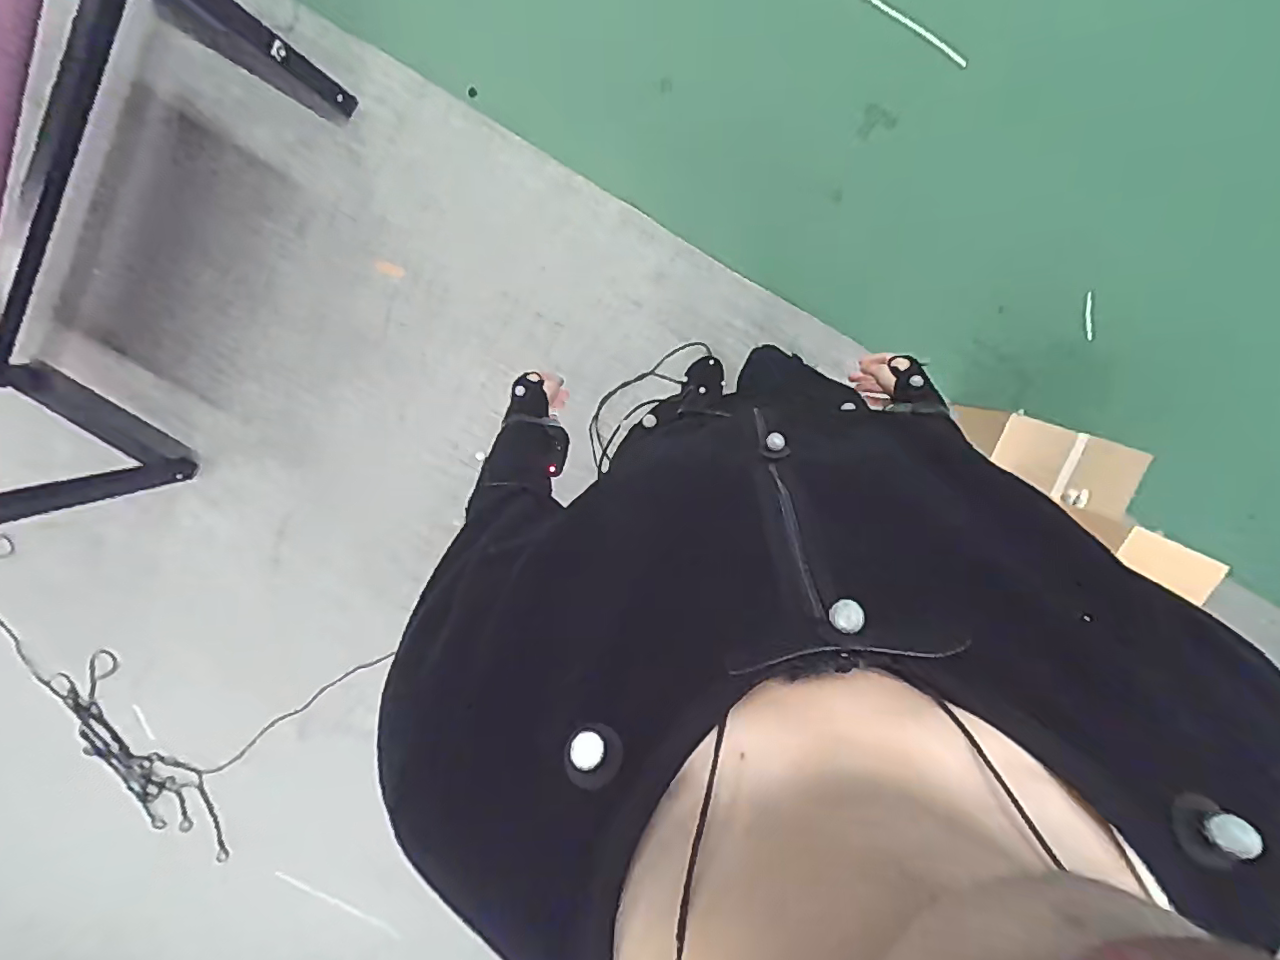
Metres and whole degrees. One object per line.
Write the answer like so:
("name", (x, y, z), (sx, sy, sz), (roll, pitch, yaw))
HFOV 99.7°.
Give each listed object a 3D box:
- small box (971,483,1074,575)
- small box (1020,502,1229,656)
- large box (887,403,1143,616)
("small box", (0.815, 0.118, 1.085), (0.179, 0.176, 0.168), (23, 103, -1))
("small box", (0.808, 0.158, 0.927), (0.168, 0.176, 0.179), (24, 103, -1))
("large box", (0.869, 0.053, 1.319), (0.320, 0.320, 0.408), (17, 101, -1))
